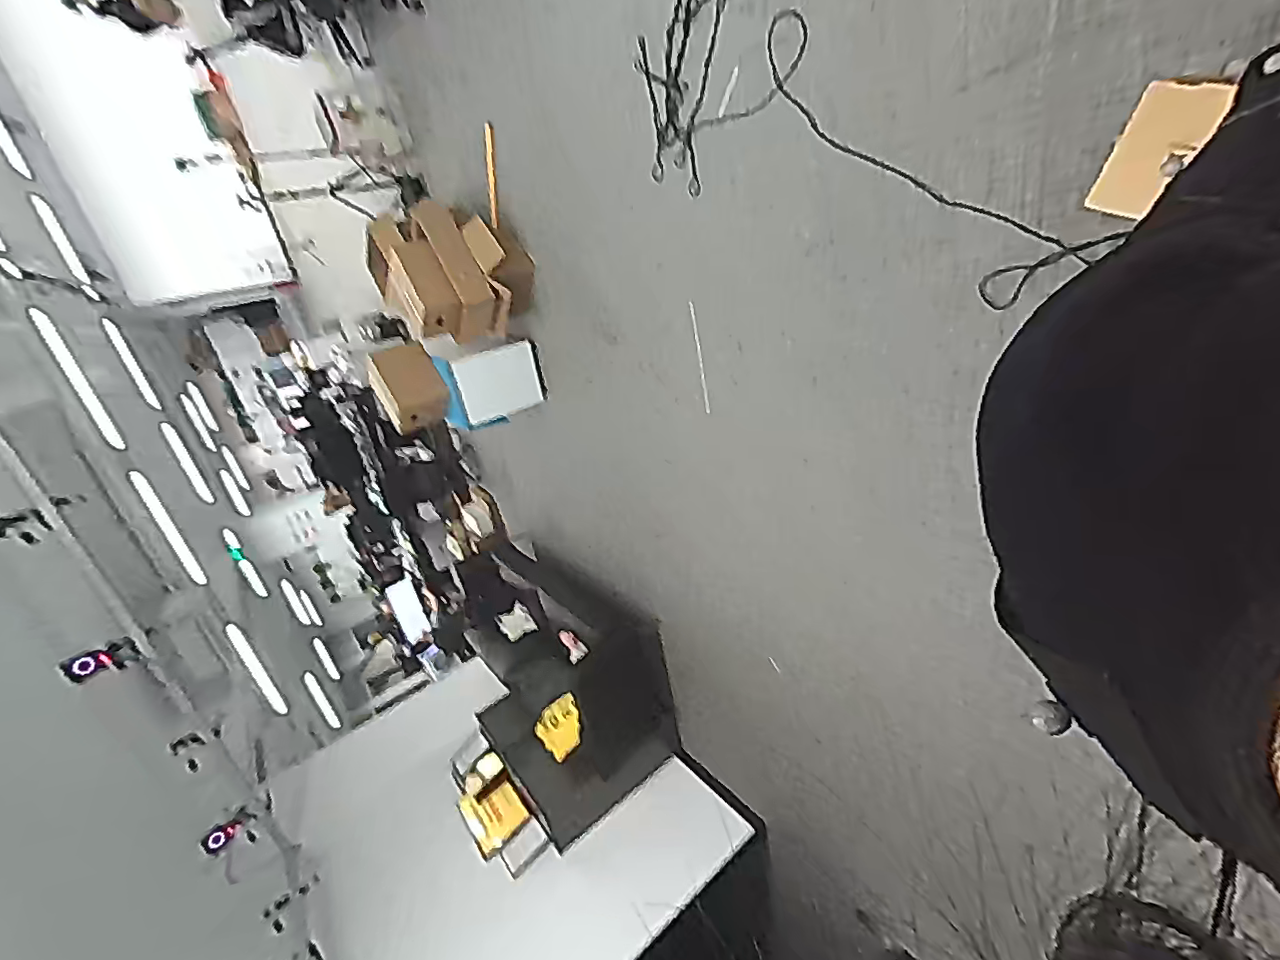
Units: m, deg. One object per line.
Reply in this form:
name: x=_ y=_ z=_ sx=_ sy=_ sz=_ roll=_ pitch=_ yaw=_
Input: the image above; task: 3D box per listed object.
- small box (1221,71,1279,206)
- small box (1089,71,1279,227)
small box: x=0.993 y=-0.577 z=0.908 sx=0.168 sy=0.176 sz=0.179 roll=36 pitch=141 yaw=40
small box: x=0.862 y=-0.515 z=0.835 sx=0.168 sy=0.176 sz=0.179 roll=41 pitch=143 yaw=36
